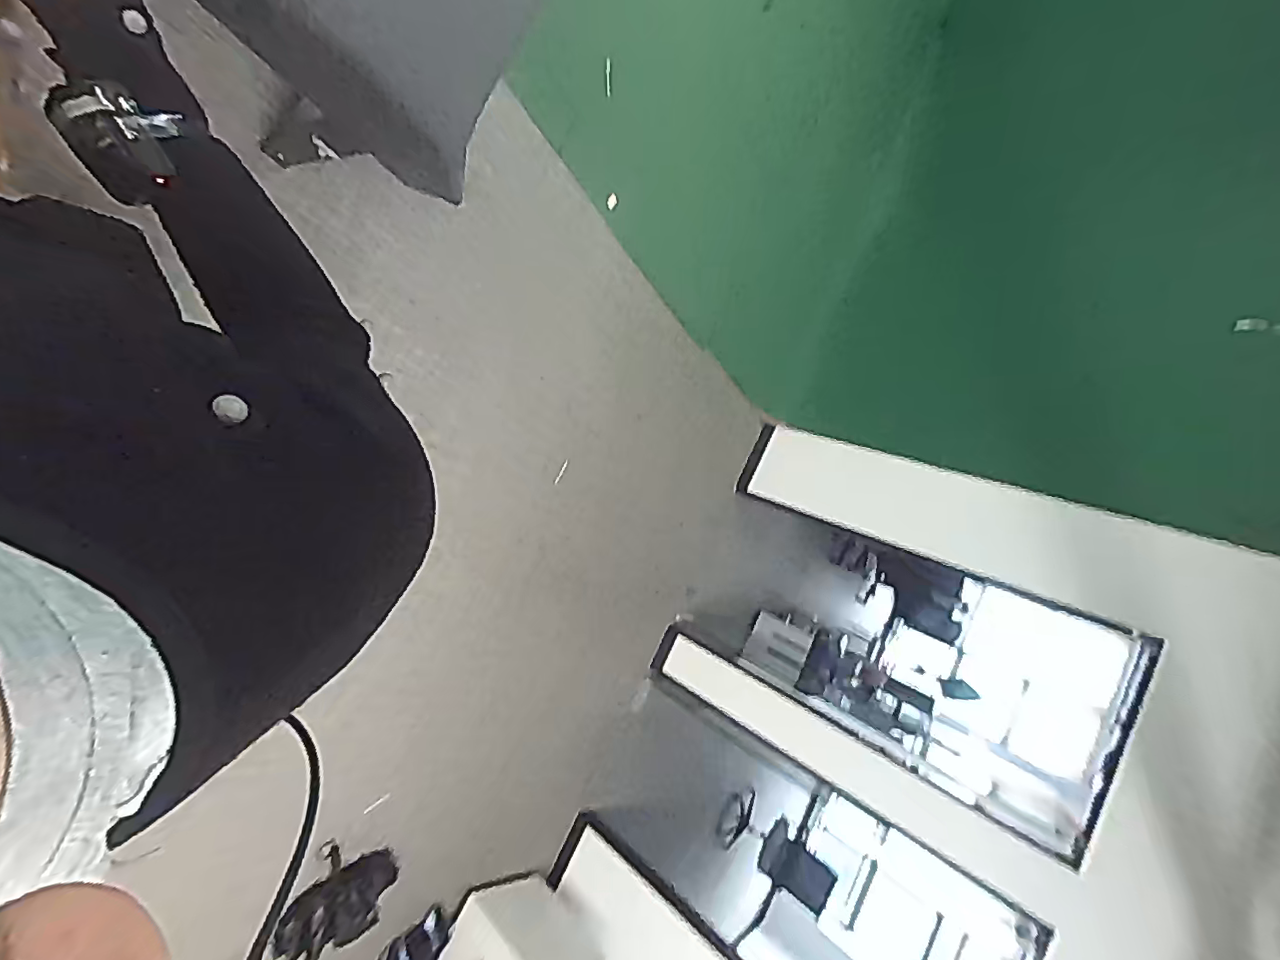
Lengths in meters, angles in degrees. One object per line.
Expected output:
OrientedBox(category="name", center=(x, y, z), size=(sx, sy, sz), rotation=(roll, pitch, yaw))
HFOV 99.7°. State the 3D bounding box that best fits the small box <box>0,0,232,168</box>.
OrientedBox(category="small box", center=(-0.393, -0.342, 0.316), size=(0.176, 0.168, 0.179), rotation=(-51, 167, 5))
